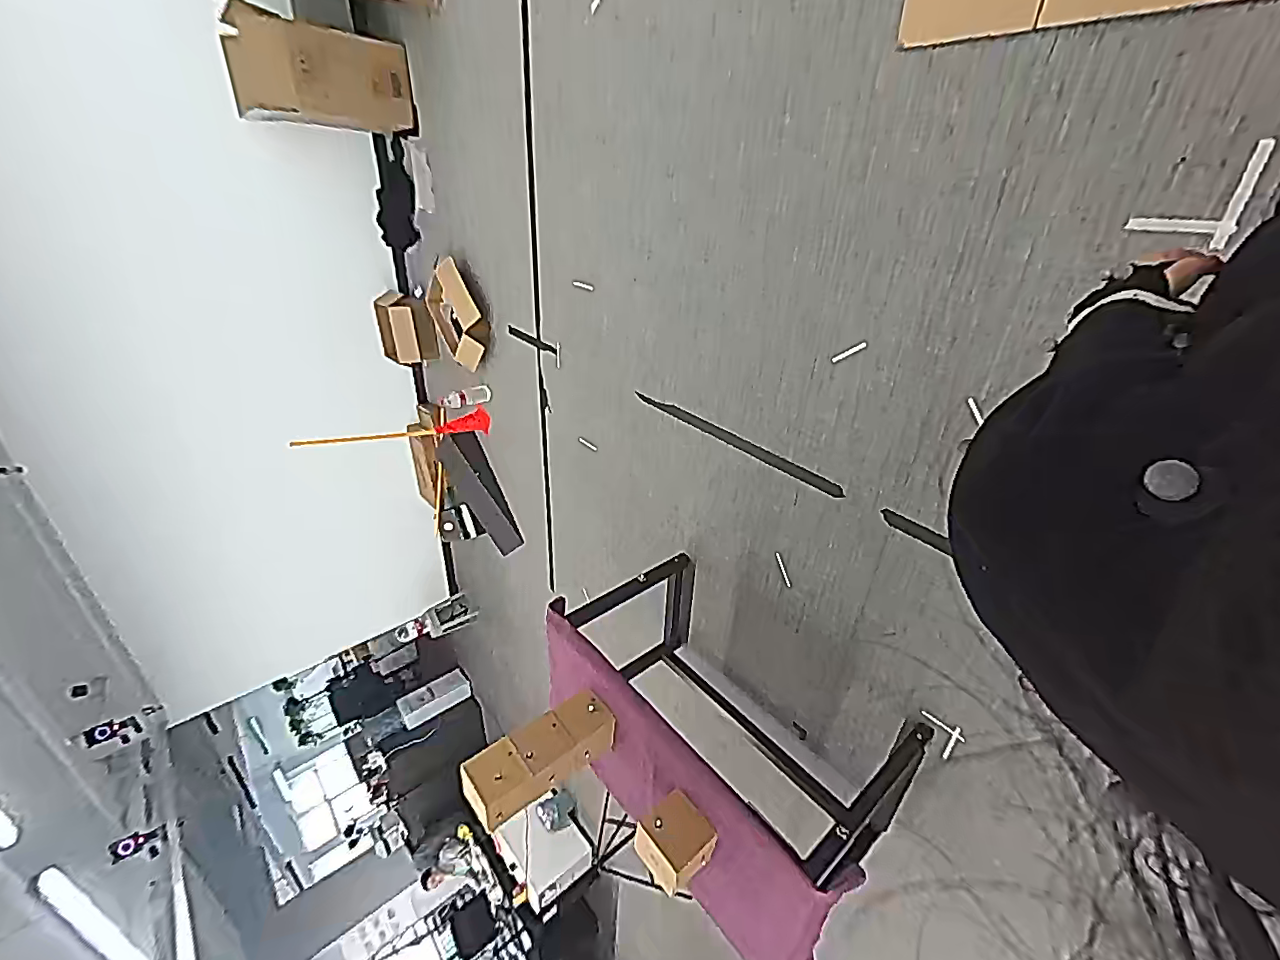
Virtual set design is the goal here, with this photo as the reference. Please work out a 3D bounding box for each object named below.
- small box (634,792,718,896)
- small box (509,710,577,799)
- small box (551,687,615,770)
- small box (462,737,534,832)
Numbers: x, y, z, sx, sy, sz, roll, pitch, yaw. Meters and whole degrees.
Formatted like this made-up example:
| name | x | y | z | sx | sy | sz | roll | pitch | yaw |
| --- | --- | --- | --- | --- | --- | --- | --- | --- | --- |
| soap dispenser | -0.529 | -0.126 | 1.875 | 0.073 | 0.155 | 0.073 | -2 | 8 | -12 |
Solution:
| name | x | y | z | sx | sy | sz | roll | pitch | yaw |
| --- | --- | --- | --- | --- | --- | --- | --- | --- | --- |
| small box | 0.105 | 1.081 | 1.625 | 0.179 | 0.176 | 0.168 | 36 | 134 | 37 |
| small box | -0.328 | 0.927 | 1.834 | 0.168 | 0.176 | 0.179 | 37 | 135 | 36 |
| small box | -0.204 | 0.883 | 1.931 | 0.168 | 0.176 | 0.179 | 35 | 132 | 37 |
| small box | -0.452 | 0.969 | 1.736 | 0.168 | 0.176 | 0.179 | 37 | 134 | 36 |
